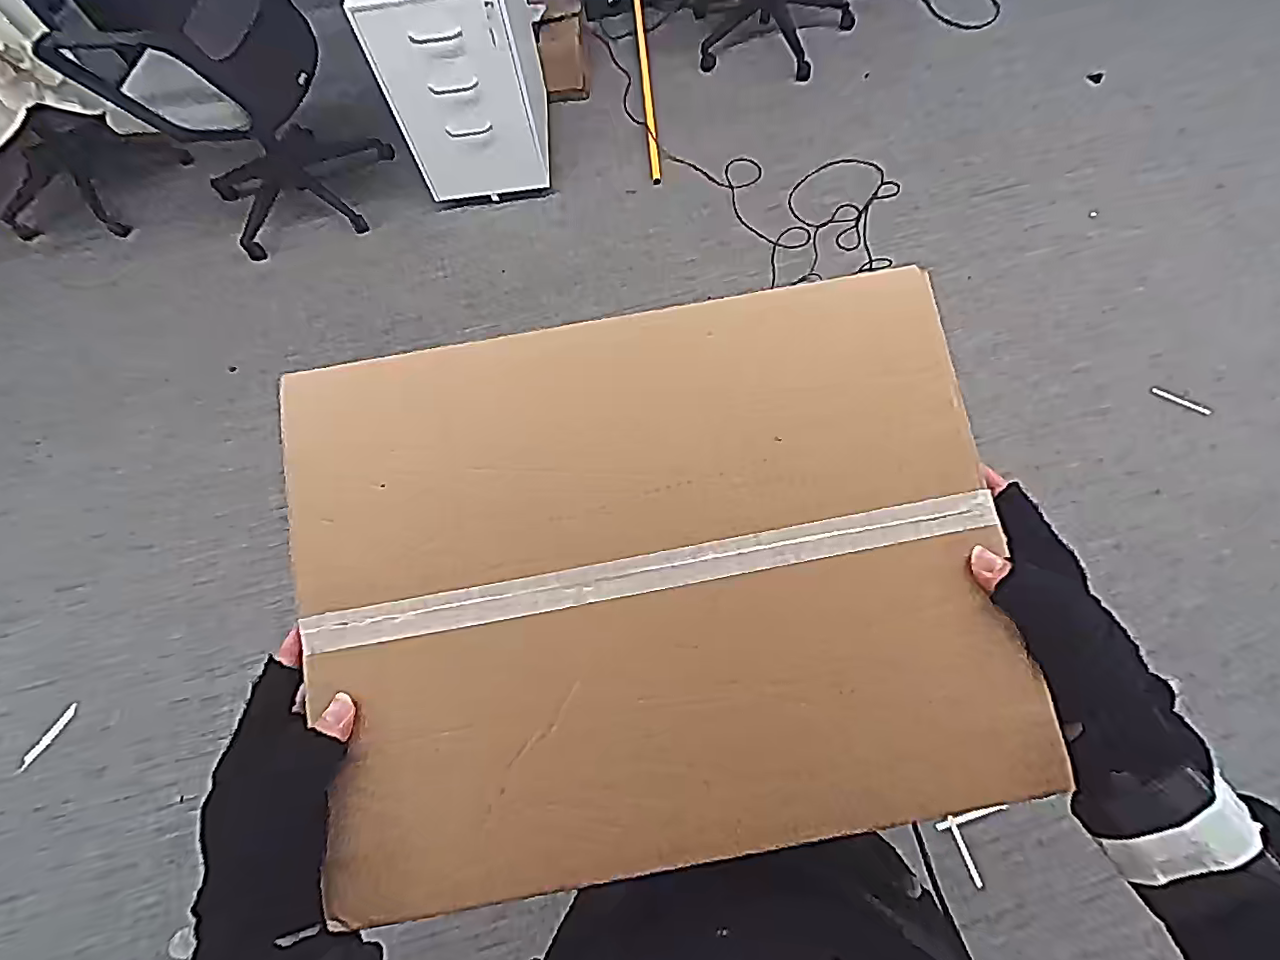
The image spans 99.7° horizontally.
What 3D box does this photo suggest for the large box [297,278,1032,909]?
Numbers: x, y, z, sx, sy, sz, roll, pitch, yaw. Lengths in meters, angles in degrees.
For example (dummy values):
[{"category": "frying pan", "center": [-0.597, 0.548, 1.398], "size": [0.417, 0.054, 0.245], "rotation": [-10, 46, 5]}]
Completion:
[{"category": "large box", "center": [0.006, 0.074, 0.471], "size": [0.408, 0.320, 0.320], "rotation": [-10, 80, -1]}]
